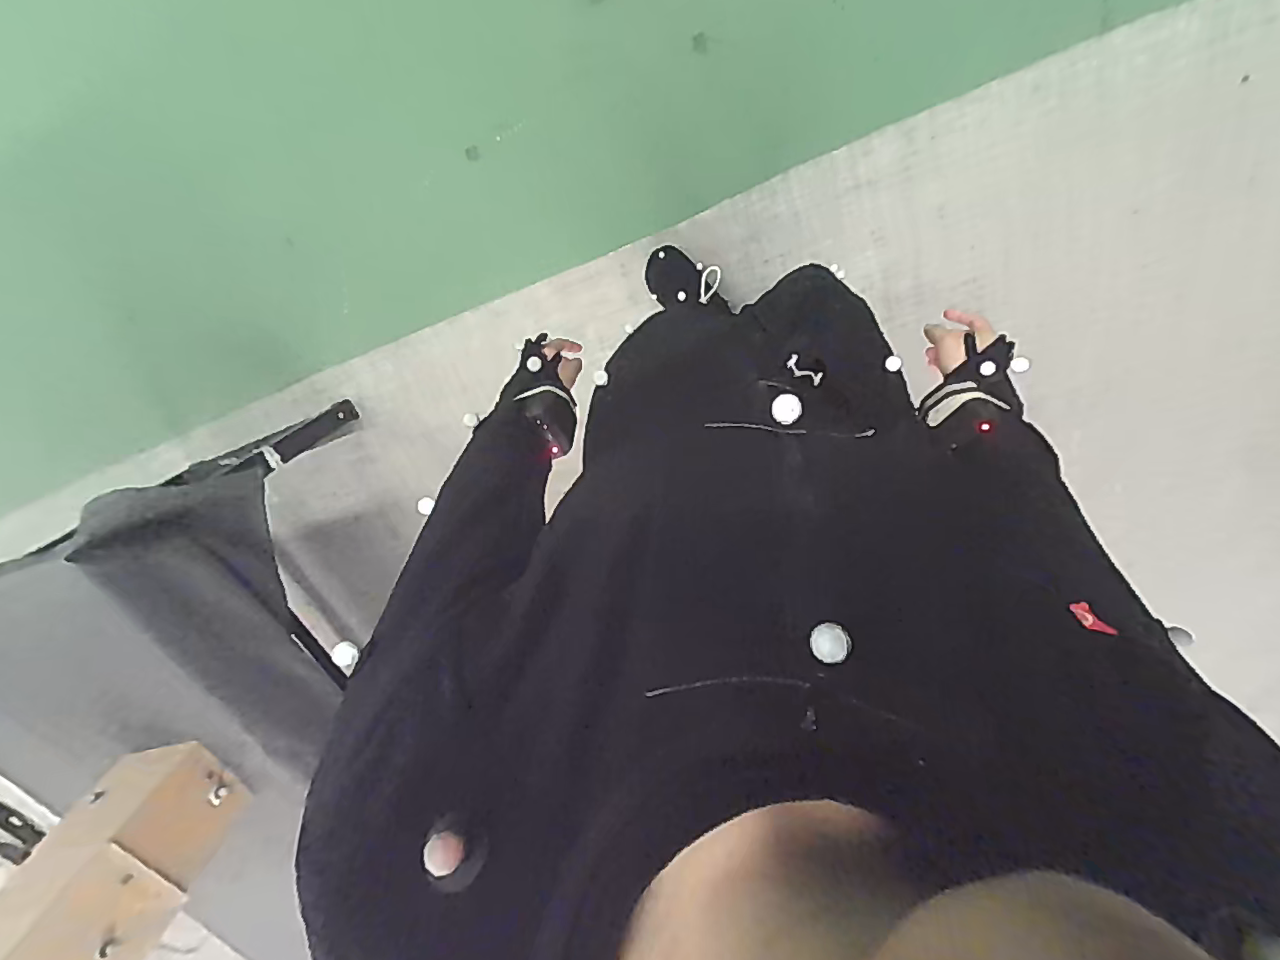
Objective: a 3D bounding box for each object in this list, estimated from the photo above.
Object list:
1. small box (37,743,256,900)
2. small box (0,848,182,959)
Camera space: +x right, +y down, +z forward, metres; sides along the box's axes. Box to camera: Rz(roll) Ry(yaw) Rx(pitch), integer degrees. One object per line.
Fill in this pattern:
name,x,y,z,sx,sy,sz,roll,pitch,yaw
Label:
small box,-0.810,0.576,0.910,0.179,0.176,0.168,-17,116,13
small box,-0.815,0.654,0.768,0.179,0.176,0.168,-17,116,15
